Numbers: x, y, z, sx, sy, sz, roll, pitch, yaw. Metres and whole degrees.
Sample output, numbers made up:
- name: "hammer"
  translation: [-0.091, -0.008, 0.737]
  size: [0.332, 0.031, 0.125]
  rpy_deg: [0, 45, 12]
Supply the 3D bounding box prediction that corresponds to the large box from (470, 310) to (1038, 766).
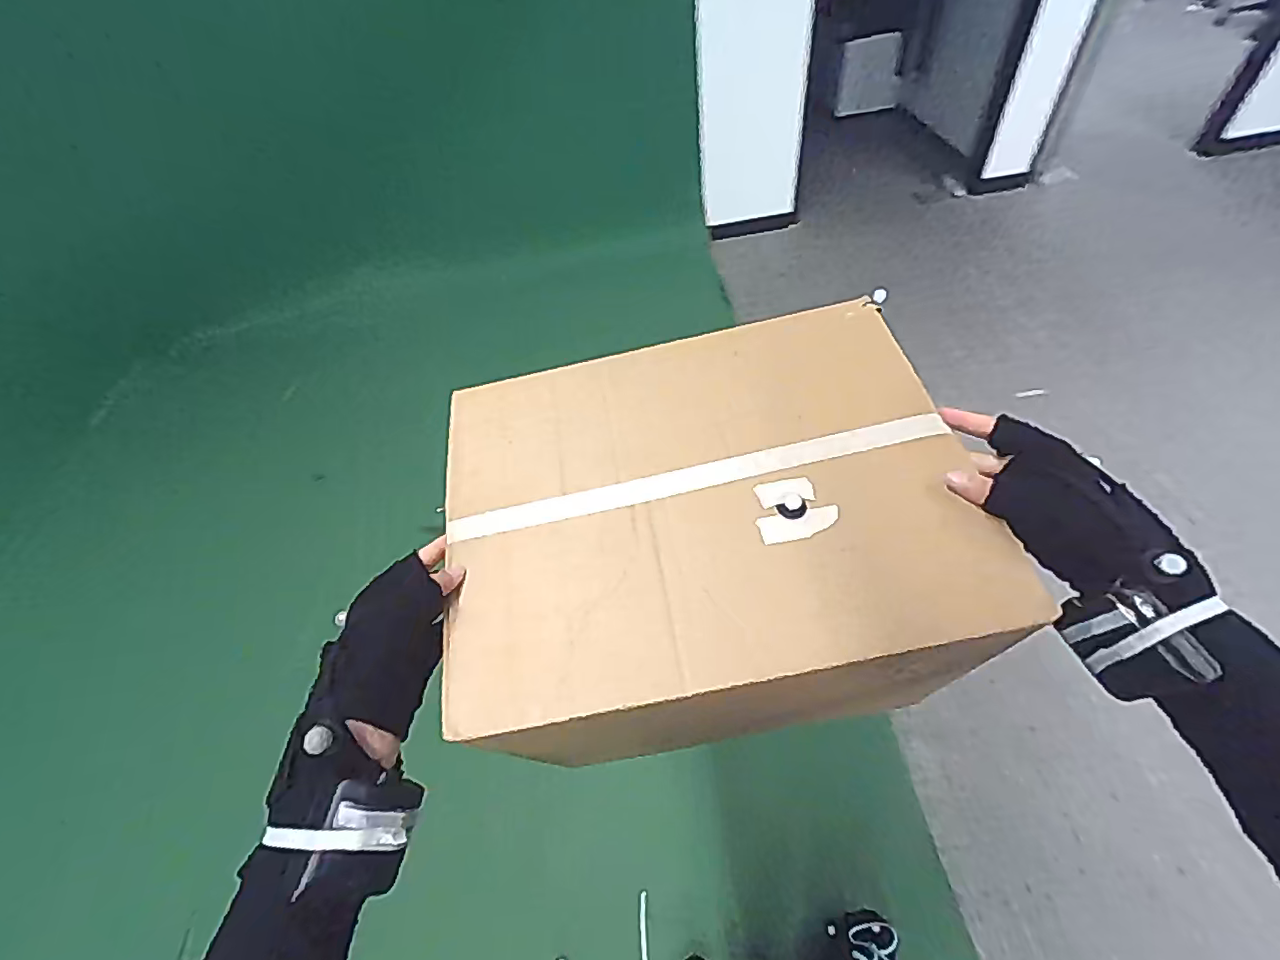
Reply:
- name: "large box"
  translation: [0.072, 0.083, 0.571]
  size: [0.408, 0.320, 0.320]
  rpy_deg: [-13, 58, 3]
